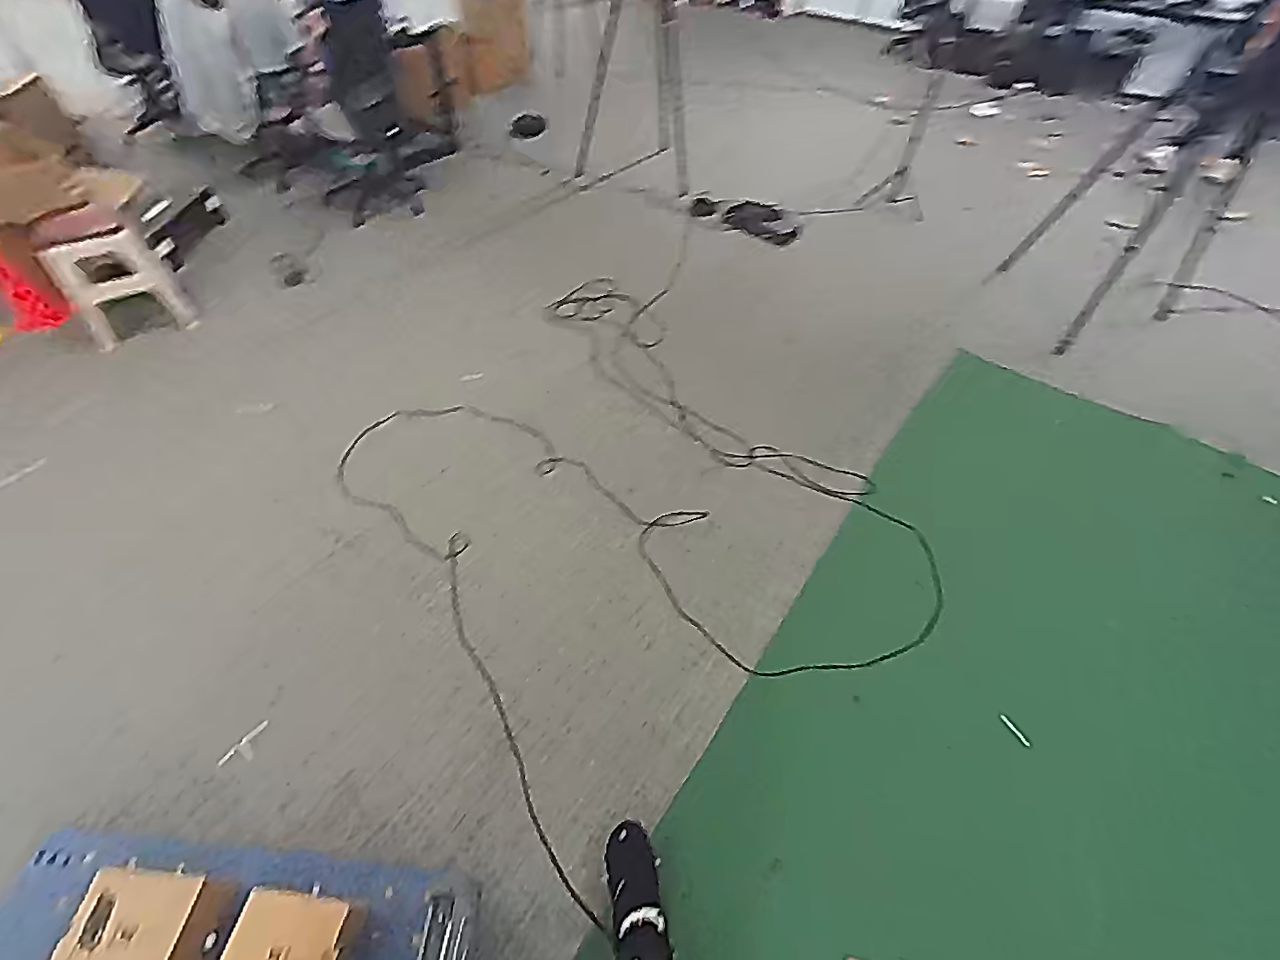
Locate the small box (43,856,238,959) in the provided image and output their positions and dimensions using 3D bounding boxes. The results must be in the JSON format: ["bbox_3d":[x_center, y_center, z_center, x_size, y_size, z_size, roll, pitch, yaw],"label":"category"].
[{"bbox_3d":[-0.873,0.782,0.960,0.179,0.176,0.168,11,51,-7],"label":"small box"}]

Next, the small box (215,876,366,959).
[{"bbox_3d":[-0.631,0.838,0.979,0.179,0.176,0.168,13,50,-5],"label":"small box"}]
